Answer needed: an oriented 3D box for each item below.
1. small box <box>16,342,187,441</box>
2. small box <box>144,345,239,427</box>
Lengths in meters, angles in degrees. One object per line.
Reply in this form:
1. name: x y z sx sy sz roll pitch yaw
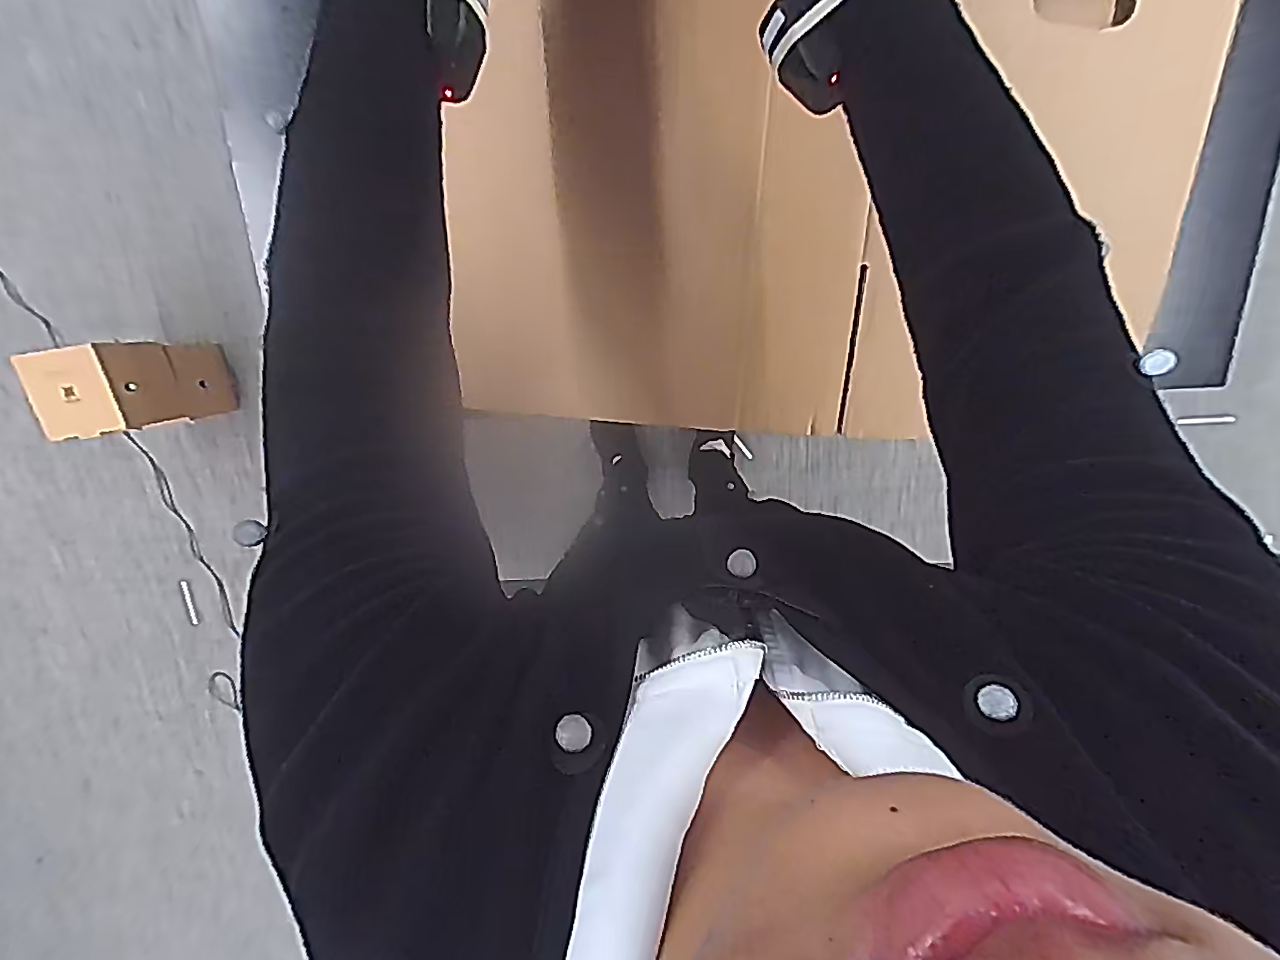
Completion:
1. small box: -1.128 -0.194 1.154 0.168 0.176 0.179 -9 105 1
2. small box: -1.131 -0.232 1.312 0.168 0.176 0.179 -7 107 1
